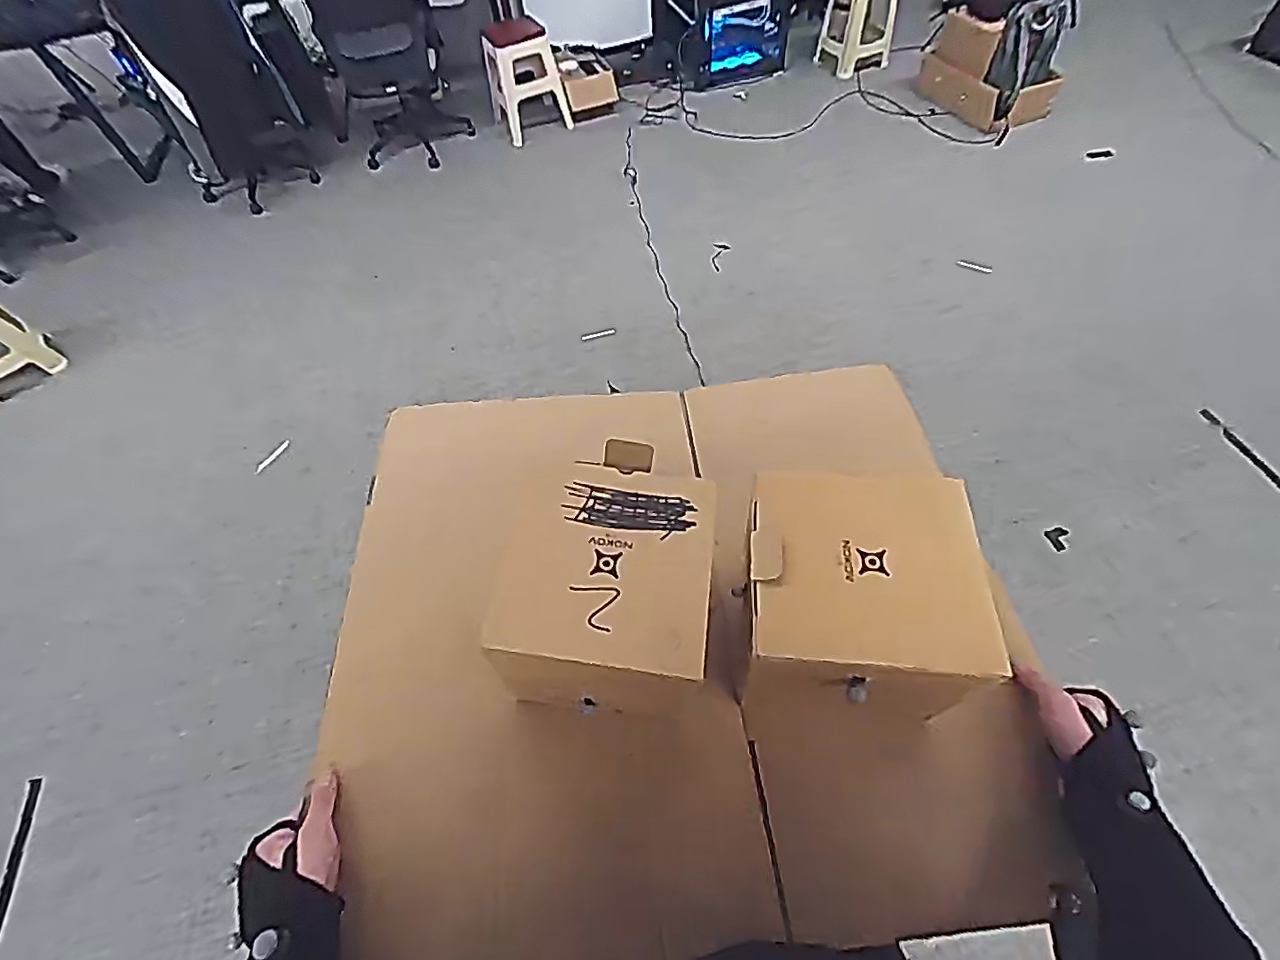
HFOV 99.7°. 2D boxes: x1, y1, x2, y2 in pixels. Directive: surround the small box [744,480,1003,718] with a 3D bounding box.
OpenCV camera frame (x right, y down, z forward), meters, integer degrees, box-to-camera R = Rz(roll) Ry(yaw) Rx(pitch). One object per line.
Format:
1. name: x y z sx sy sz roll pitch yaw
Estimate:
1. small box: 0.192 0.116 0.505 0.179 0.176 0.168 1 56 9
